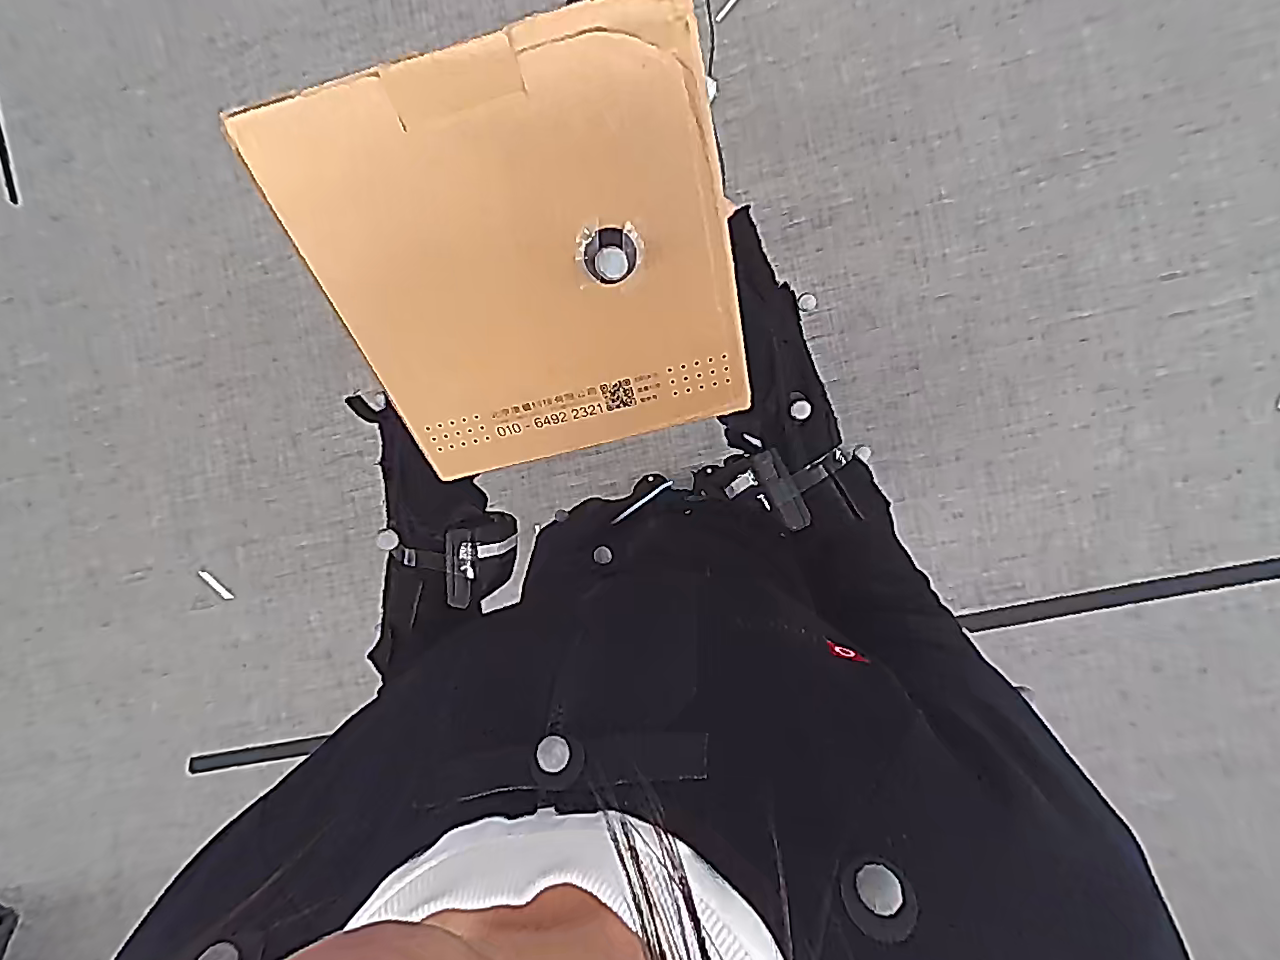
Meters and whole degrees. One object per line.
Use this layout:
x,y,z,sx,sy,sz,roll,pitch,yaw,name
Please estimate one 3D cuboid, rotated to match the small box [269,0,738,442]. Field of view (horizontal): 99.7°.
-0.046,-0.137,0.307,0.168,0.179,0.176,-12,128,7,small box
